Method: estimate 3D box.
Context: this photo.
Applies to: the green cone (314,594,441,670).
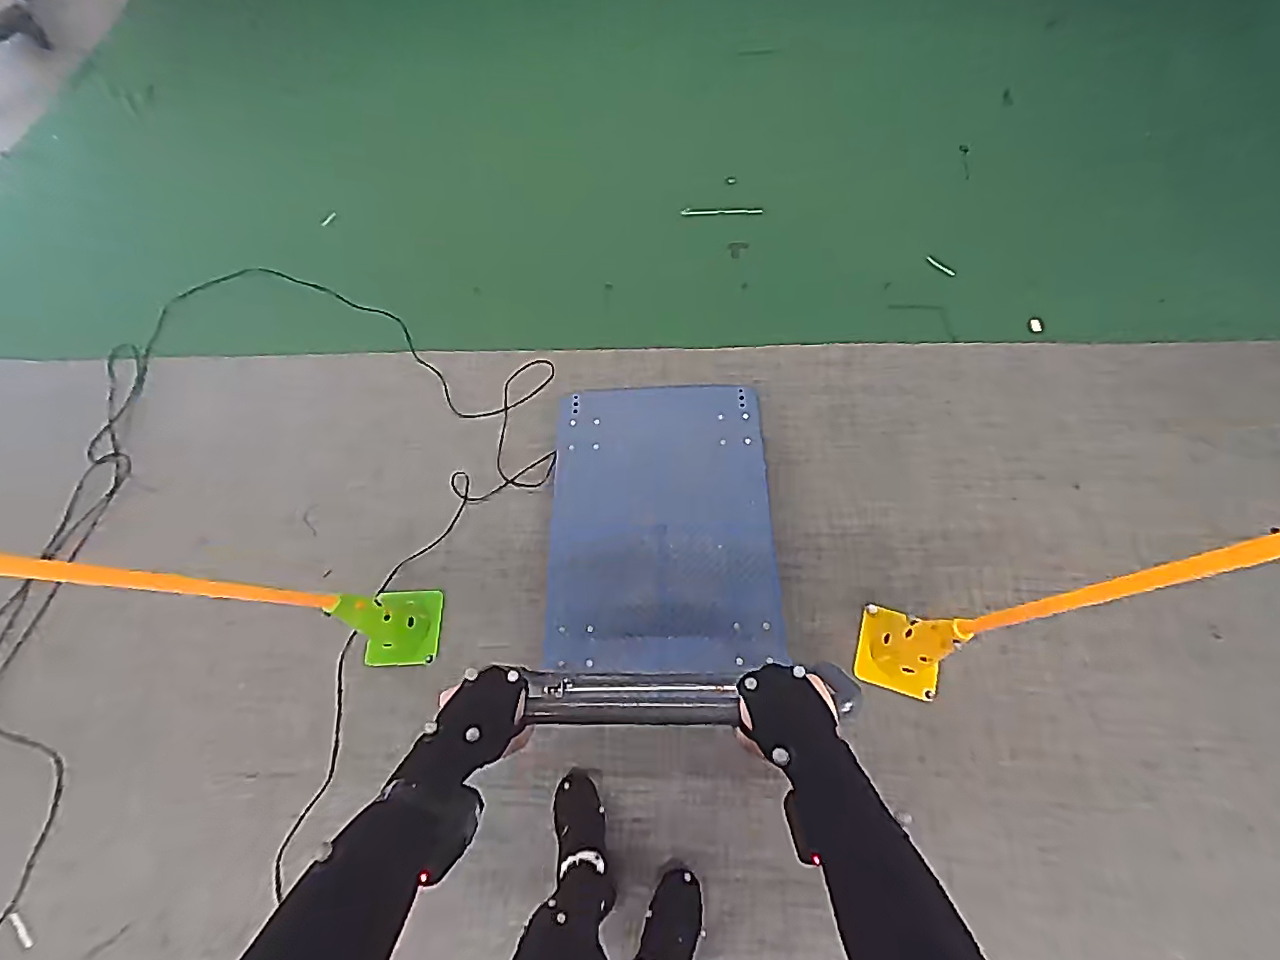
[{"bbox_3d":[-0.675,0.347,1.349,0.202,0.368,0.200,-4,65,4],"label":"green cone"}]
